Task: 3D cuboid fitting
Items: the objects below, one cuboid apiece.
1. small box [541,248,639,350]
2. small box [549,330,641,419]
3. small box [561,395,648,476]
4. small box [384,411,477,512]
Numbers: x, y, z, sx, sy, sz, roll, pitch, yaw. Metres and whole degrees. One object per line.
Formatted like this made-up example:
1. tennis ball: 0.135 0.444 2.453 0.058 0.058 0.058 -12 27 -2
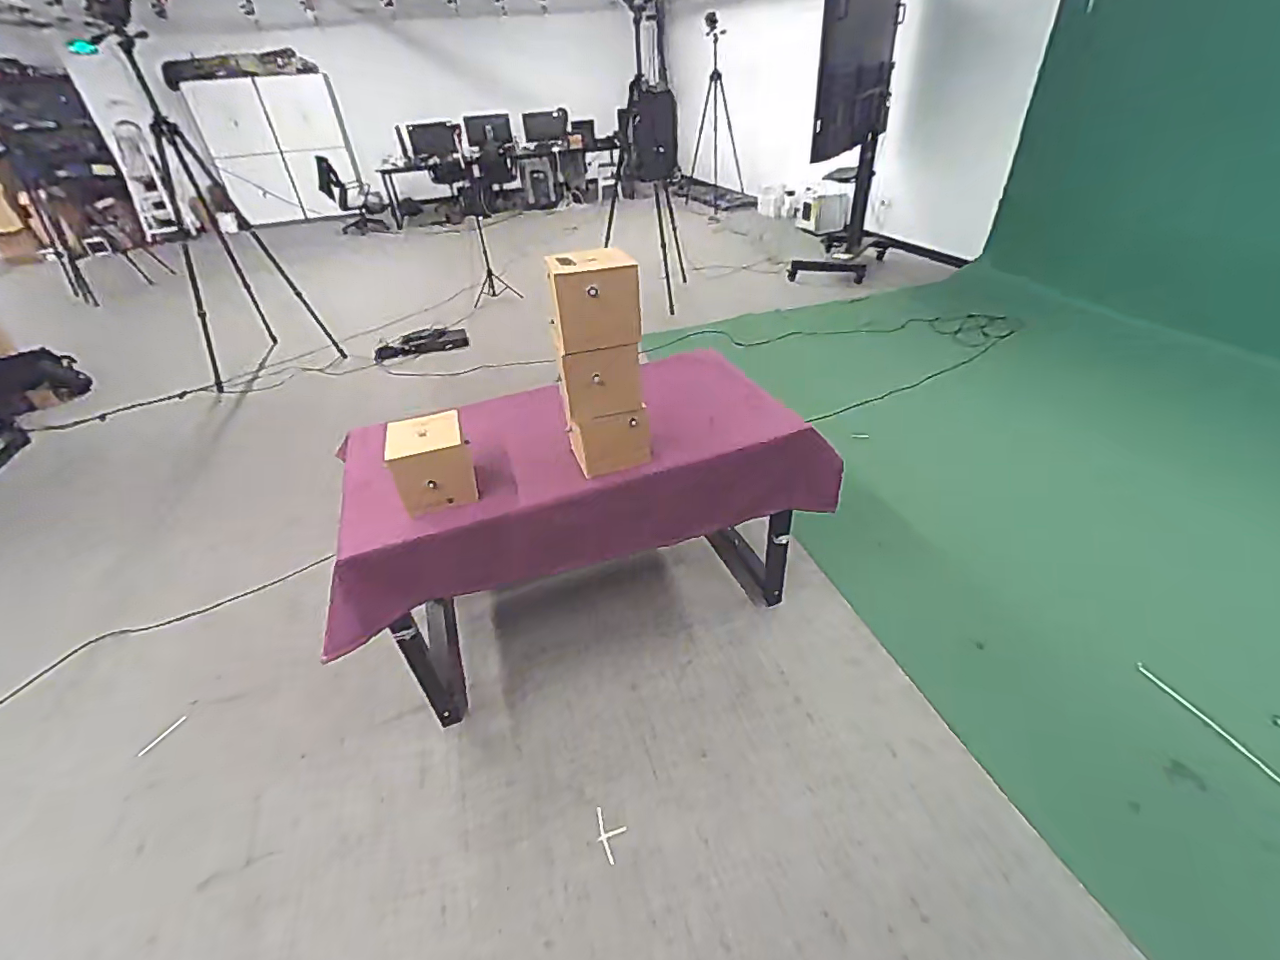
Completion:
1. small box: -0.107 -0.394 1.179 0.179 0.176 0.168 -12 37 -11
2. small box: -0.105 -0.260 1.276 0.179 0.176 0.168 -13 37 -10
3. small box: -0.087 -0.130 1.375 0.179 0.176 0.168 -15 37 -14
4. small box: -0.497 -0.039 1.298 0.168 0.176 0.179 -14 37 -13
